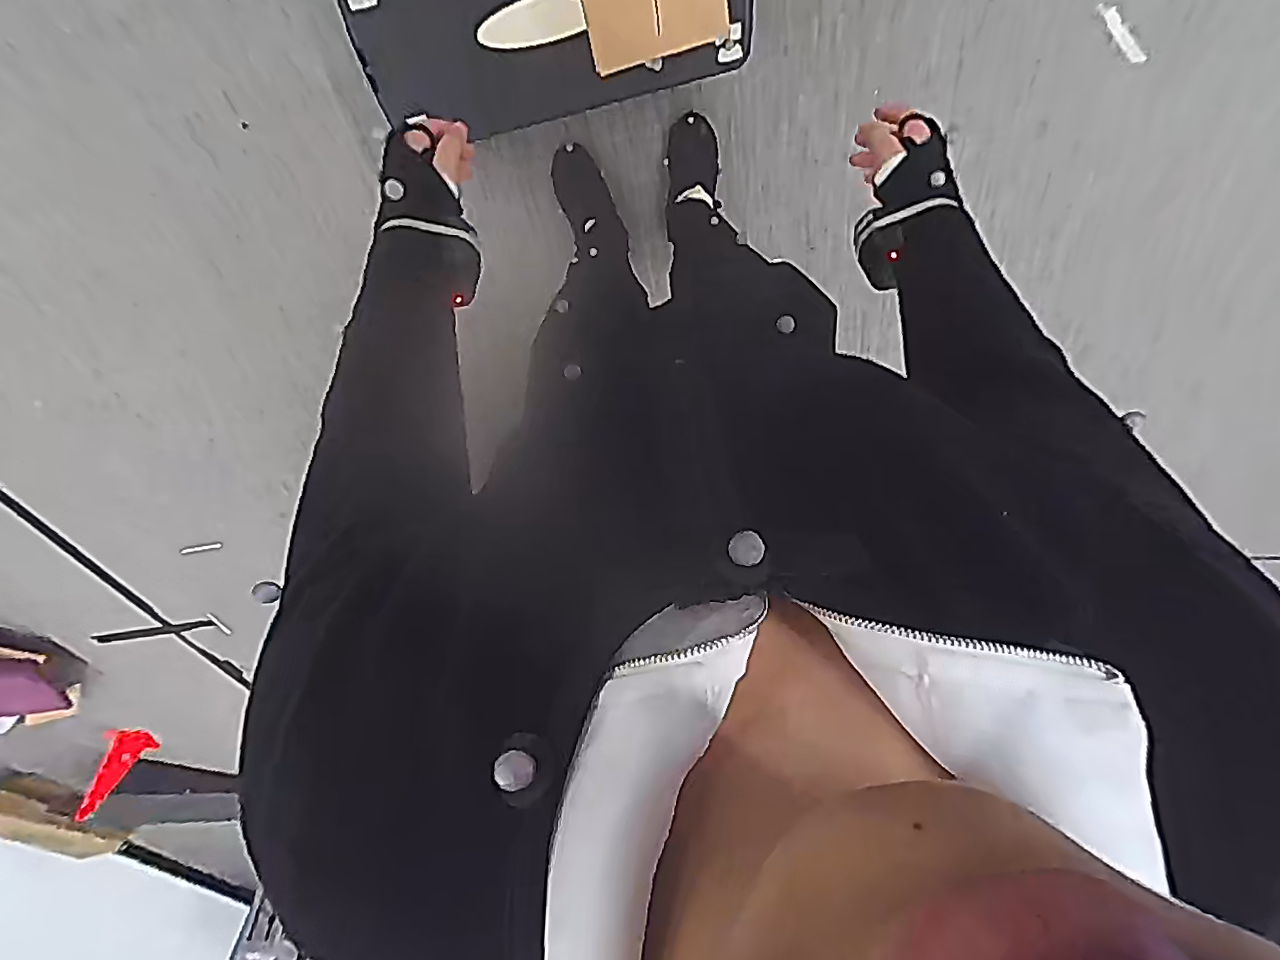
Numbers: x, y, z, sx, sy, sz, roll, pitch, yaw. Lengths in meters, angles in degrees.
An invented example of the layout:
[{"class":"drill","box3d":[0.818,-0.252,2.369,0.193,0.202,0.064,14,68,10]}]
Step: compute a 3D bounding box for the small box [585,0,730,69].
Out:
[{"class":"small box","box3d":[0.008,-0.640,0.669,0.168,0.176,0.179,-12,130,8]}]
